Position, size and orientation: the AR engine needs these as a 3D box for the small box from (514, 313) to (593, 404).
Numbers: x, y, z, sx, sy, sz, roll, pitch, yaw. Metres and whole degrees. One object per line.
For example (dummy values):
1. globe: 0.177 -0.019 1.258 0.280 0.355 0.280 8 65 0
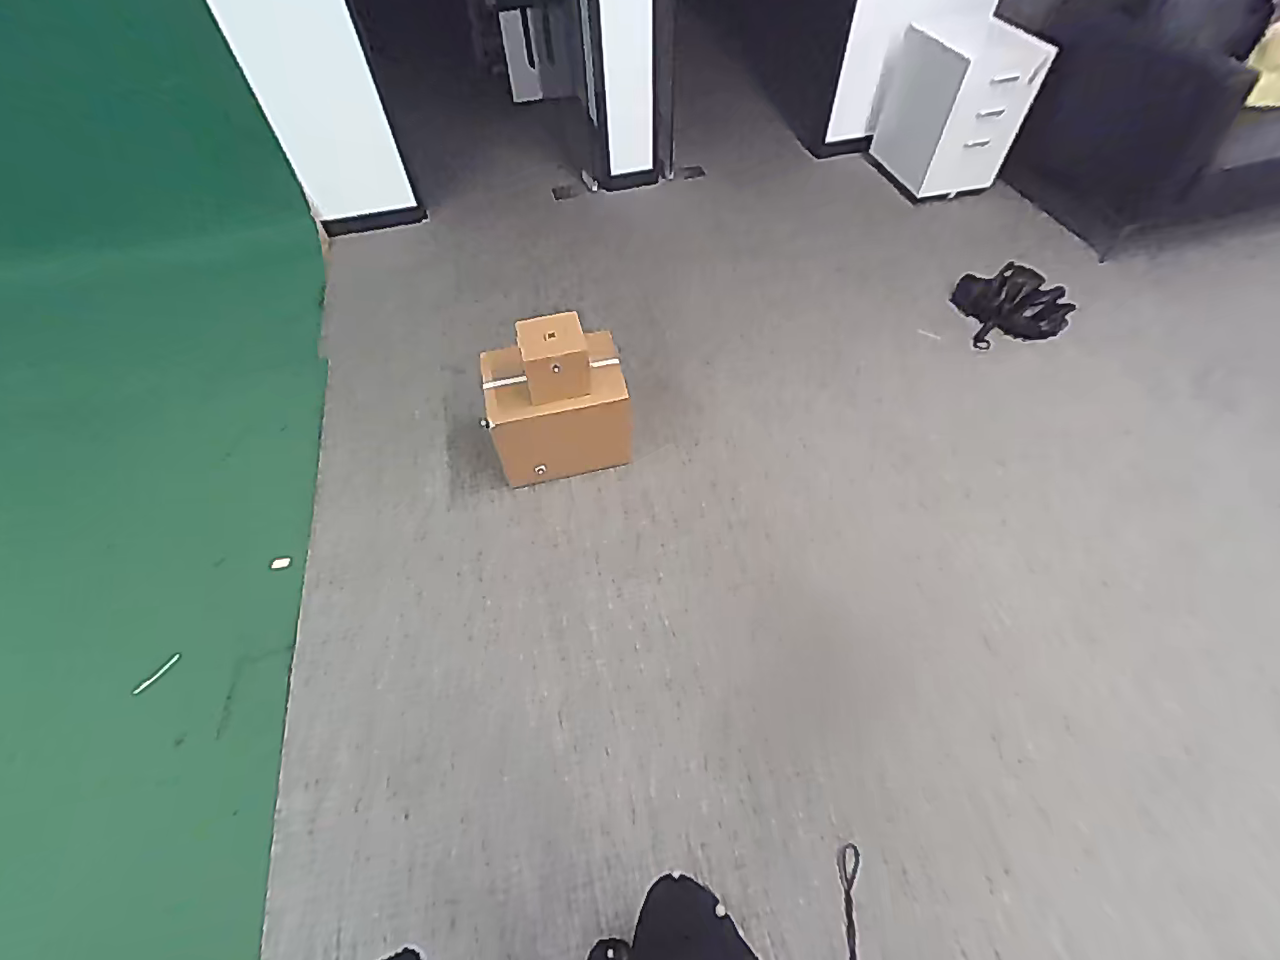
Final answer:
1. small box: -0.238 -0.334 1.512 0.179 0.176 0.168 -14 57 -8
